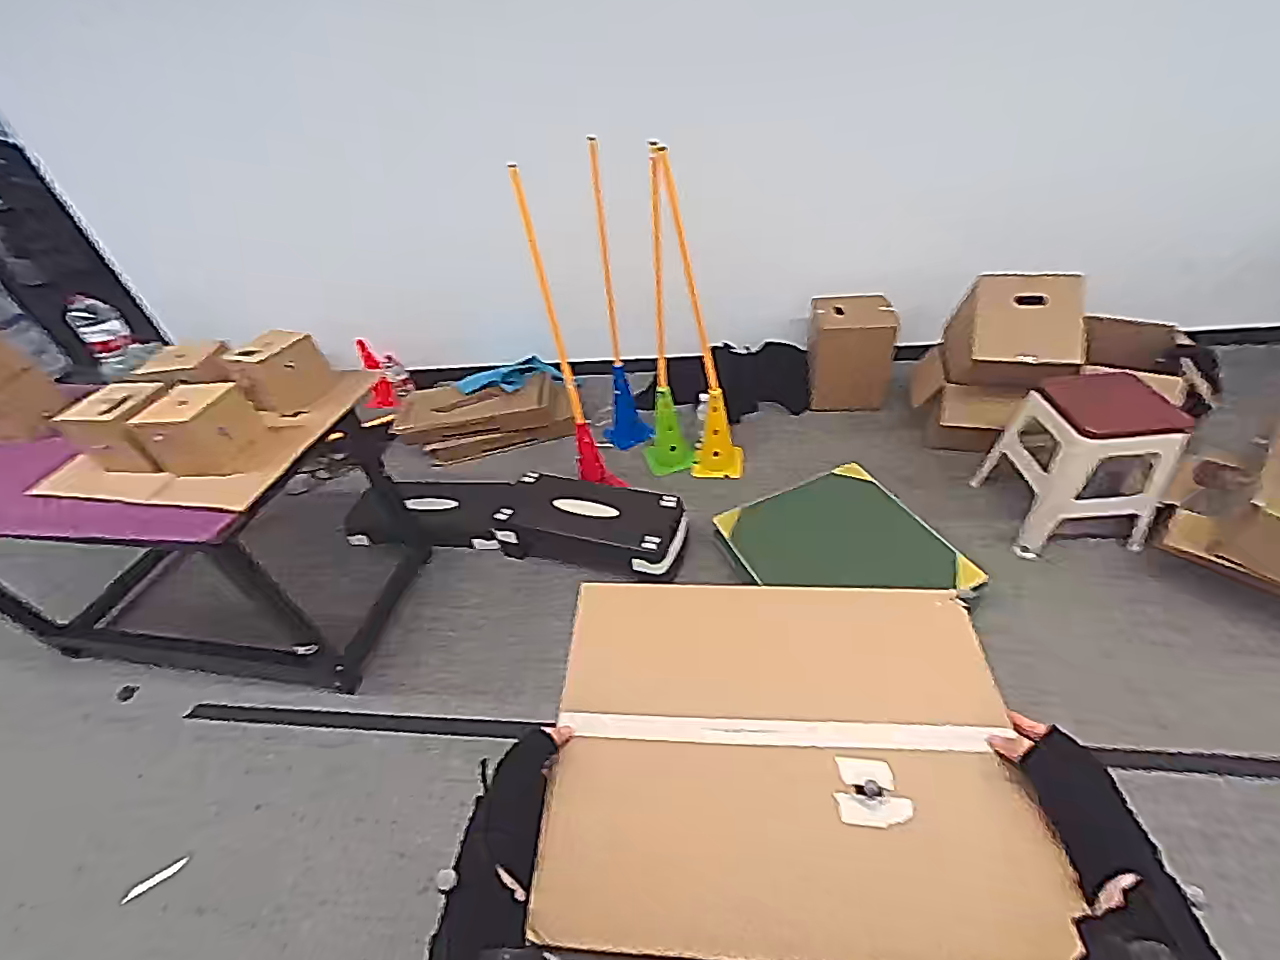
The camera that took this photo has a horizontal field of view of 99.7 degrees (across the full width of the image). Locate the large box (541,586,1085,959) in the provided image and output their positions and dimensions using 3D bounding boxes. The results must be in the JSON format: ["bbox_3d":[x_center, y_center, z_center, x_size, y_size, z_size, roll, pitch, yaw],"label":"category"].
[{"bbox_3d":[0.134,0.335,0.604,0.408,0.320,0.320,0,46,5],"label":"large box"}]
